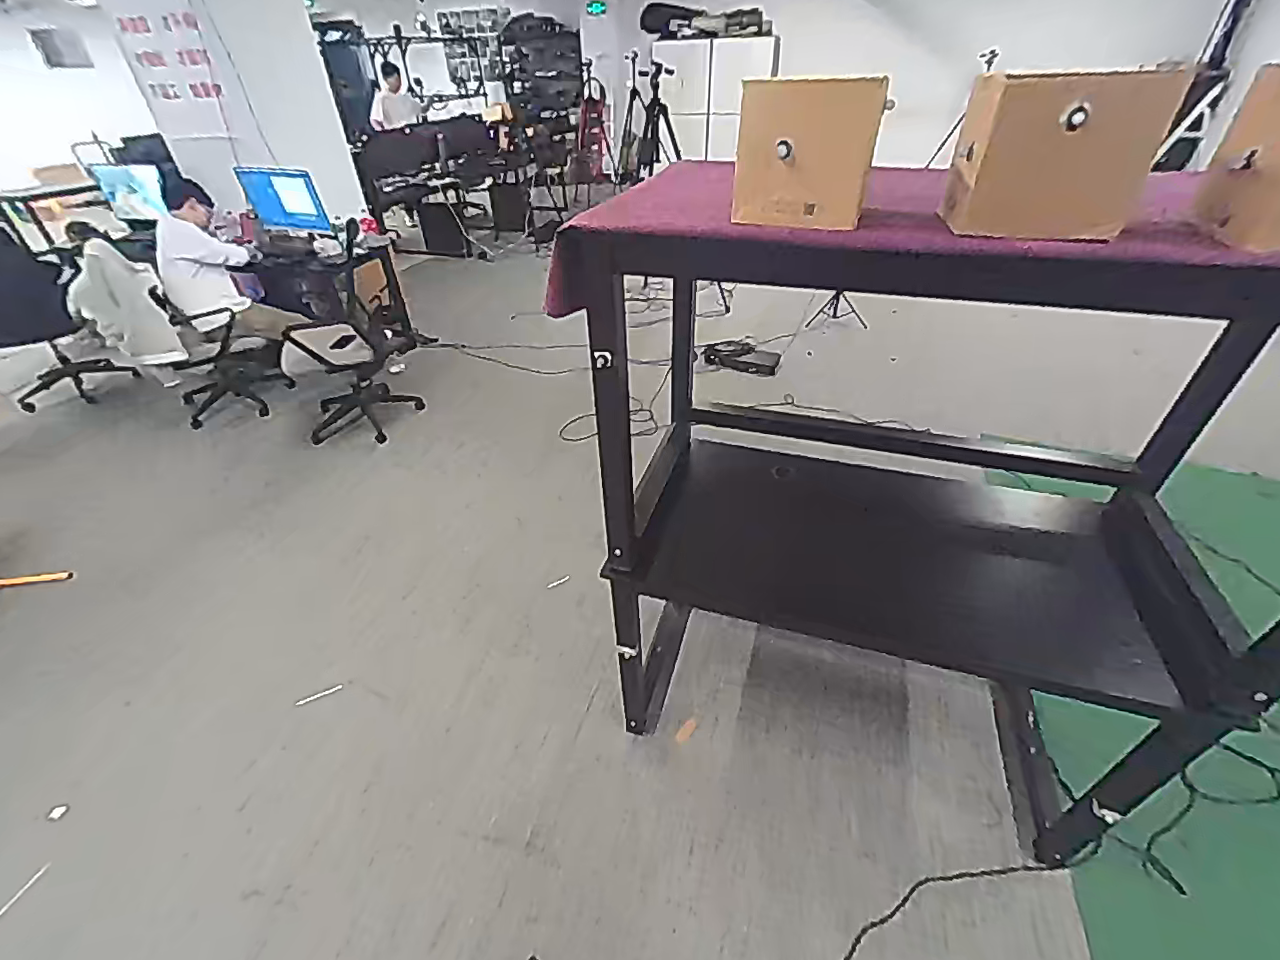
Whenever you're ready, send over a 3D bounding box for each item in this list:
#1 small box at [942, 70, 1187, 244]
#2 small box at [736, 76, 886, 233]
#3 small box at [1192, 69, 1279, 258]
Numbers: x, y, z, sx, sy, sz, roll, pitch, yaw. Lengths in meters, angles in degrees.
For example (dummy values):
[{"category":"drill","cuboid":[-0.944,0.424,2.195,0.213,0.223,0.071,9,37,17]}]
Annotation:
[{"category":"small box","cuboid":[0.497,-0.401,0.675,0.179,0.176,0.168,9,38,14]},{"category":"small box","cuboid":[0.235,-0.452,0.754,0.168,0.176,0.179,12,38,18]},{"category":"small box","cuboid":[0.767,-0.346,0.588,0.179,0.176,0.168,9,40,16]}]
